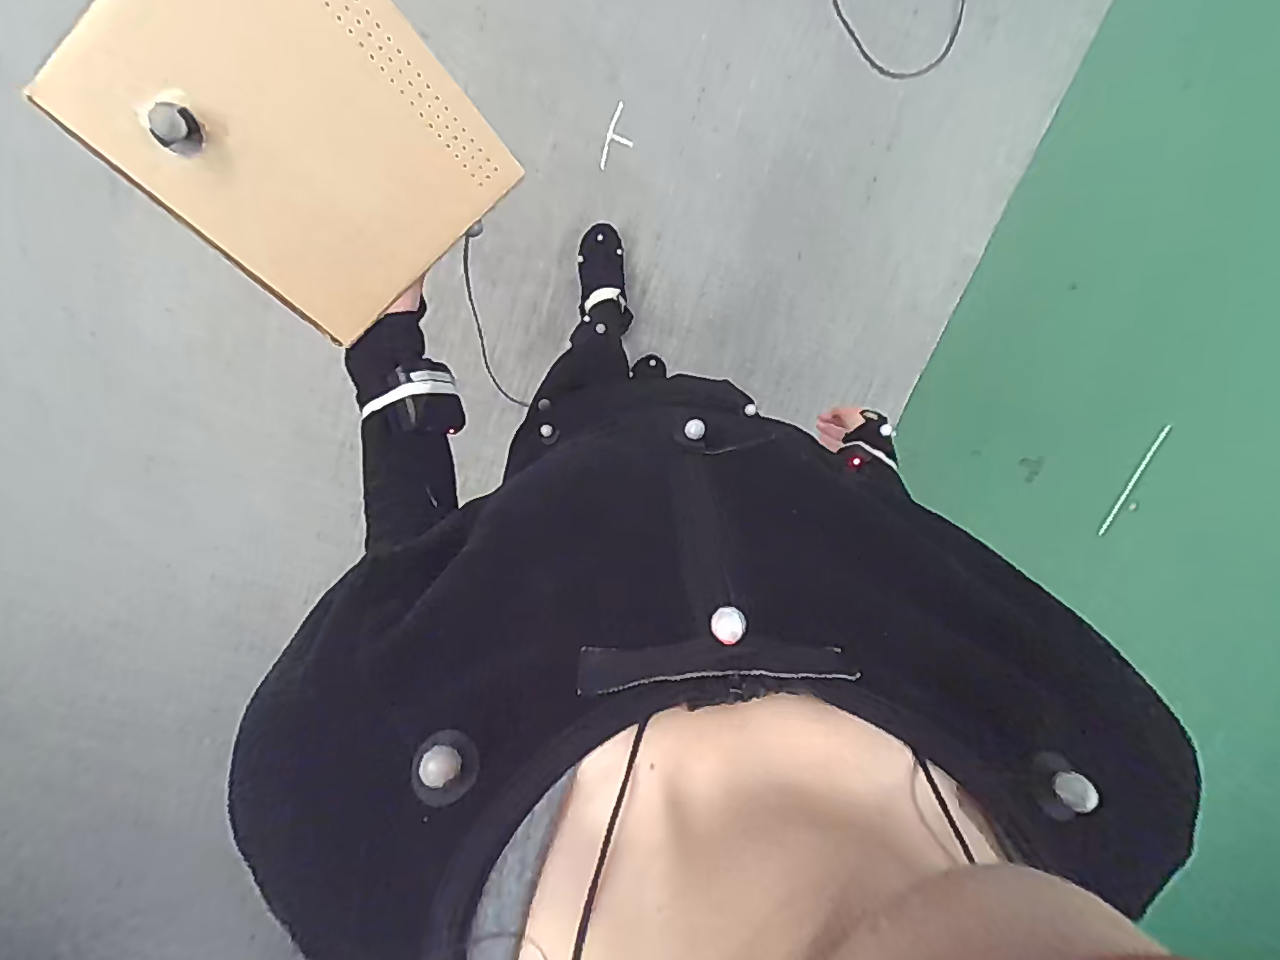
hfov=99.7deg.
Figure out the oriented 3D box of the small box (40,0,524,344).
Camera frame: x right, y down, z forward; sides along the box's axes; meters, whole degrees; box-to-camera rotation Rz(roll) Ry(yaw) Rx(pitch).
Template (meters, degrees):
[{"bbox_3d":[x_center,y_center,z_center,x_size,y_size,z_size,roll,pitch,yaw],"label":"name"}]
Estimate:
[{"bbox_3d":[-0.206,-0.233,0.364,0.176,0.168,0.179,-40,127,9],"label":"small box"}]
